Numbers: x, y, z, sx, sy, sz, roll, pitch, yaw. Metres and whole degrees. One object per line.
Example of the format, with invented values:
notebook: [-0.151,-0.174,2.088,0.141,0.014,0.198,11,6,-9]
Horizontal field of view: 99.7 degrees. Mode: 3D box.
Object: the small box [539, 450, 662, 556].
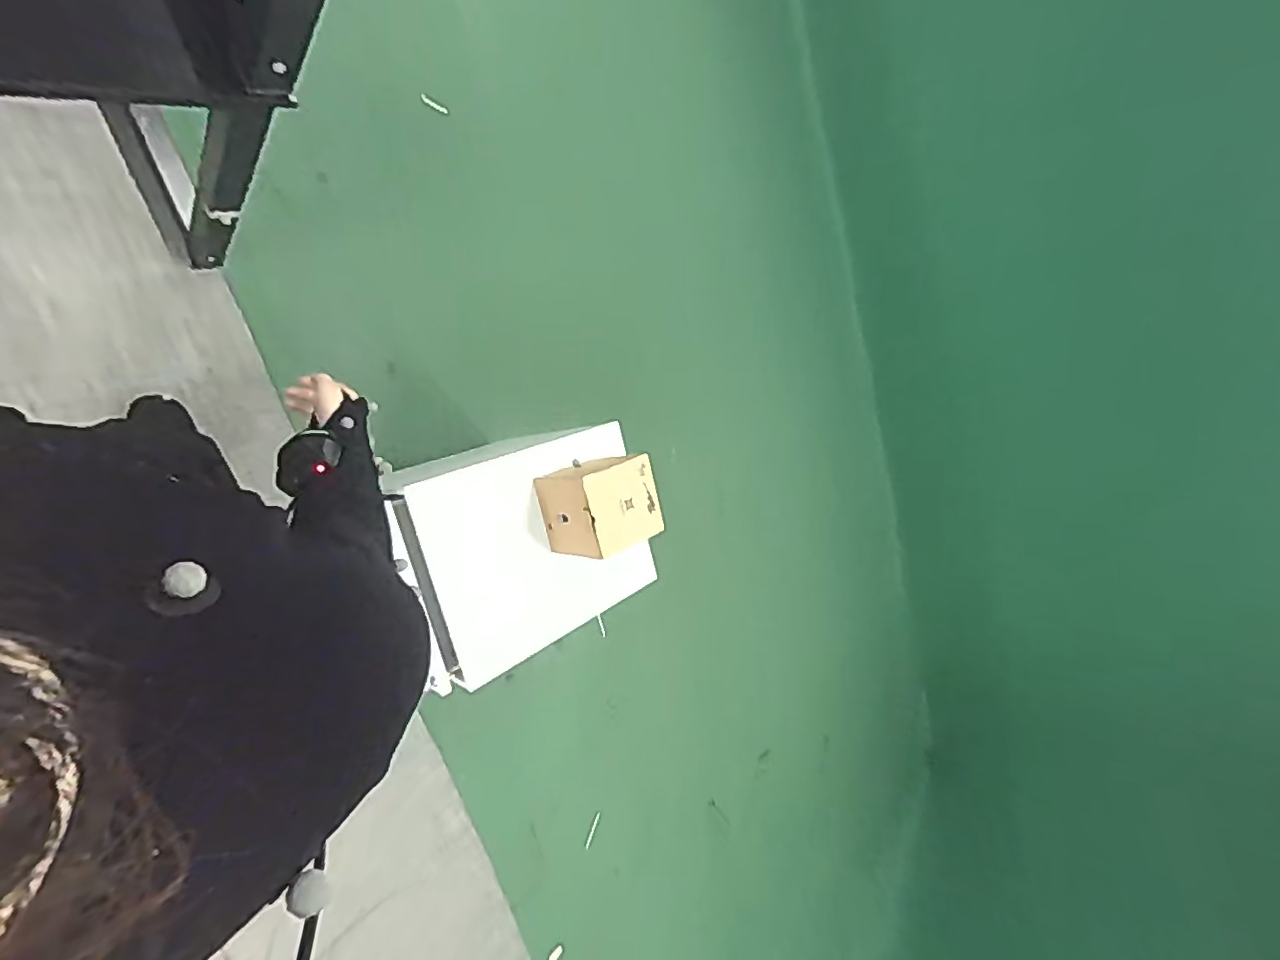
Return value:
small box: [-0.087,0.042,1.095,0.179,0.176,0.168,-22,105,-40]
